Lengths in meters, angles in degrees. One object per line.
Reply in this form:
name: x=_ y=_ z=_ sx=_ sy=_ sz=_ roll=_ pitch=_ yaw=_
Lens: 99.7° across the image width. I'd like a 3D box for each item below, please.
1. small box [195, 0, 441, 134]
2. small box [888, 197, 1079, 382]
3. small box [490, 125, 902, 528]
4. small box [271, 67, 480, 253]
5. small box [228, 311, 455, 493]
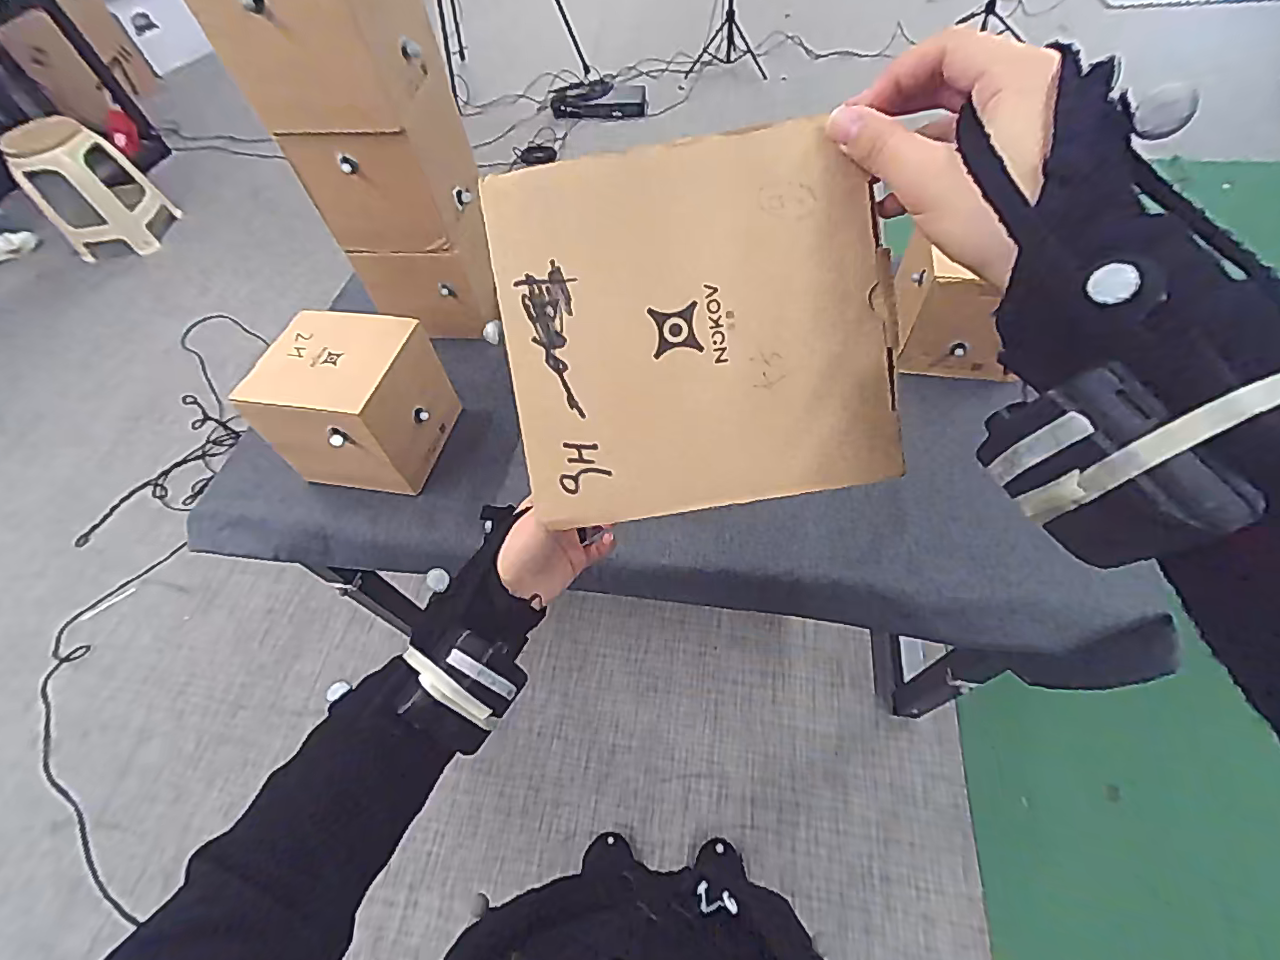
small box: x=-0.354 y=-0.513 z=0.601 sx=0.179 sy=0.176 sz=0.168 roll=4 pitch=60 yaw=6
small box: x=0.458 y=-0.264 z=0.756 sx=0.168 sy=0.176 sz=0.179 roll=7 pitch=60 yaw=10
small box: x=0.028 y=-0.074 z=0.327 sx=0.179 sy=0.176 sz=0.168 roll=-8 pitch=94 yaw=2
small box: x=-0.345 y=-0.435 z=0.746 sx=0.179 sy=0.176 sz=0.168 roll=2 pitch=60 yaw=5
small box: x=-0.375 y=-0.099 z=0.722 sx=0.179 sy=0.176 sz=0.168 roll=7 pitch=55 yaw=9
